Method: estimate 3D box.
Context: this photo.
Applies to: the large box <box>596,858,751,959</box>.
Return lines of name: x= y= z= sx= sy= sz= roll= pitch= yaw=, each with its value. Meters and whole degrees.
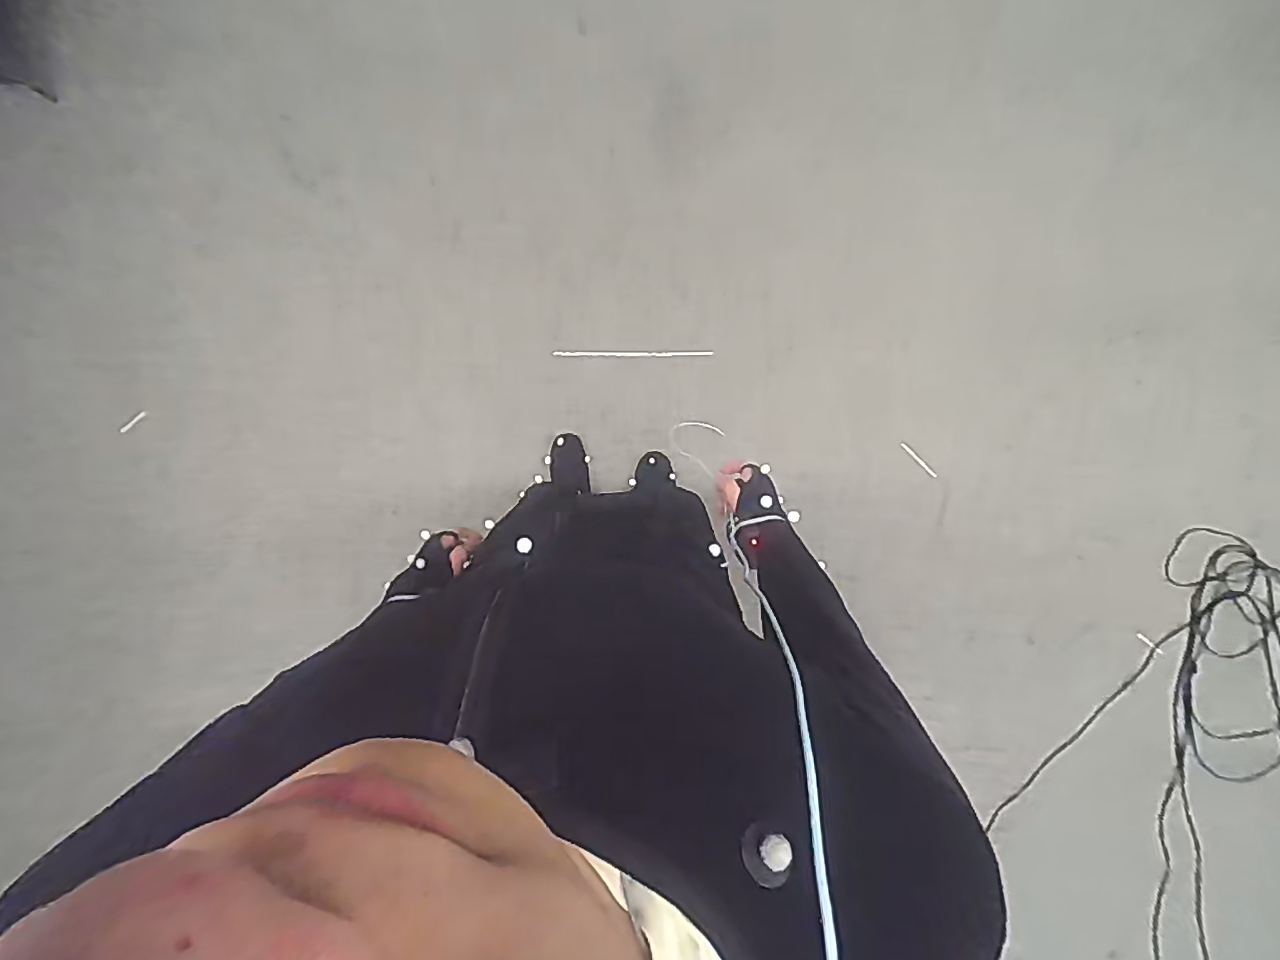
large box: x=0.096 y=1.332 z=1.539 sx=0.408 sy=0.320 sz=0.320 roll=-1 pitch=92 yaw=3
